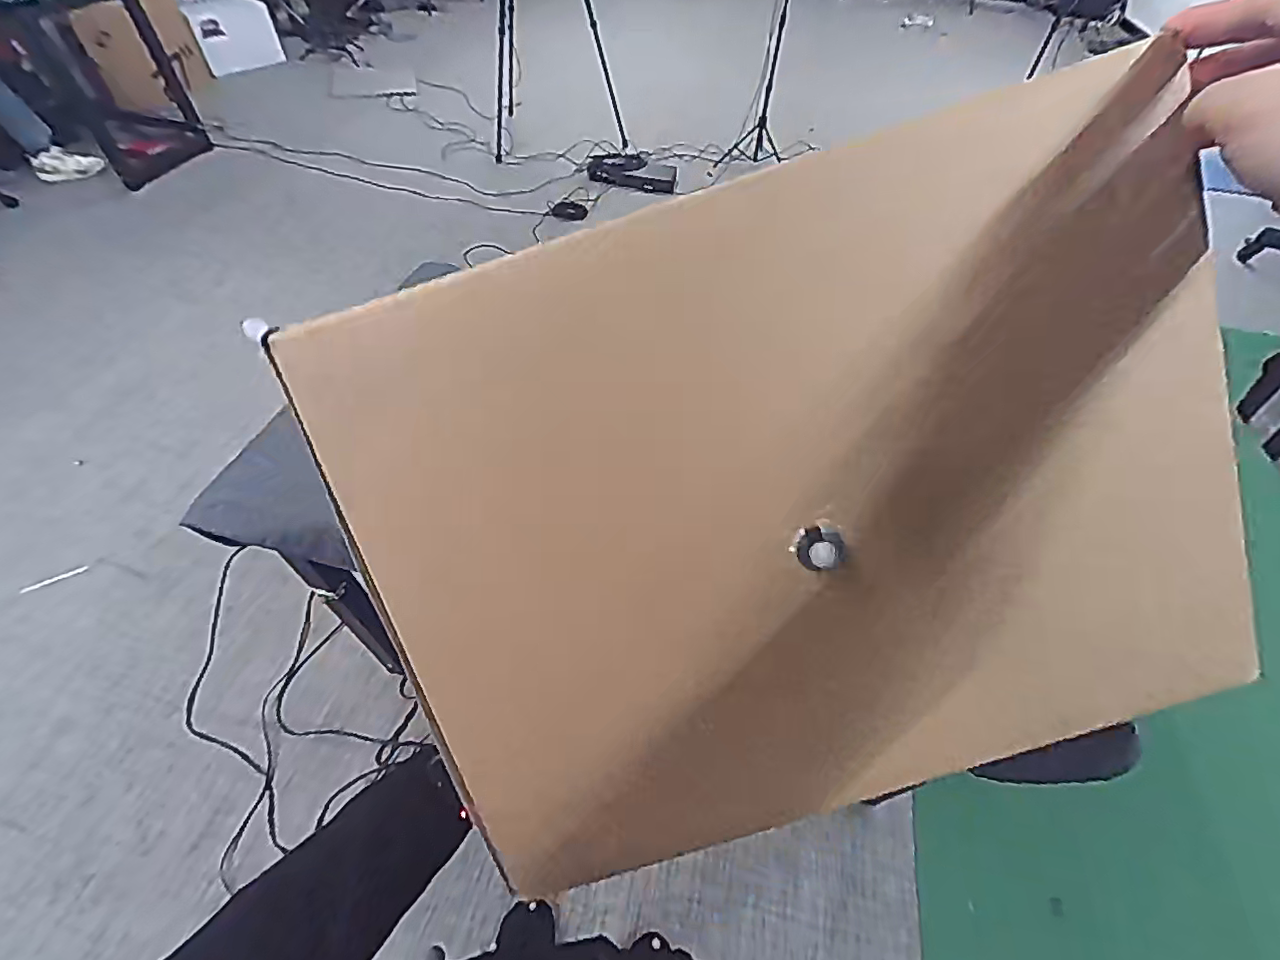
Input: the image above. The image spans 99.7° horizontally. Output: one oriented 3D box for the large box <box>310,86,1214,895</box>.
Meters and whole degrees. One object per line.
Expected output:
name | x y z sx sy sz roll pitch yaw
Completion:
large box | 0.080 0.001 0.413 0.408 0.320 0.320 -20 11 0
